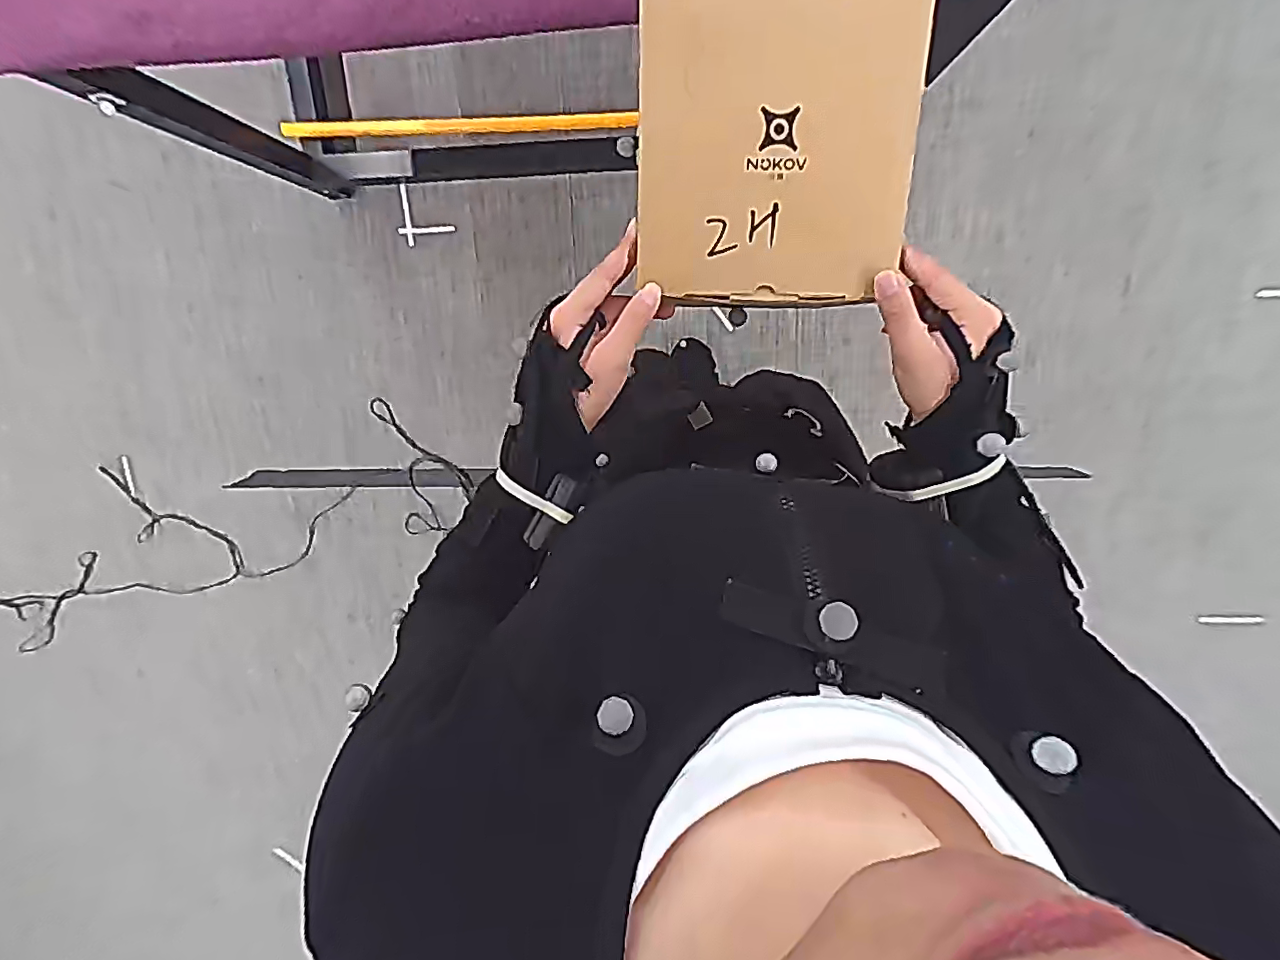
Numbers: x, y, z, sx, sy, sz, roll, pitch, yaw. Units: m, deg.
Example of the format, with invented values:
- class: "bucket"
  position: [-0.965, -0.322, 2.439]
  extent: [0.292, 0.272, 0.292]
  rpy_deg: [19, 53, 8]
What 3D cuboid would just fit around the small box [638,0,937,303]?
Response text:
- class: "small box"
  position: [0.084, -0.229, 0.396]
  extent: [0.168, 0.176, 0.179]
  rpy_deg: [2, 105, 2]
